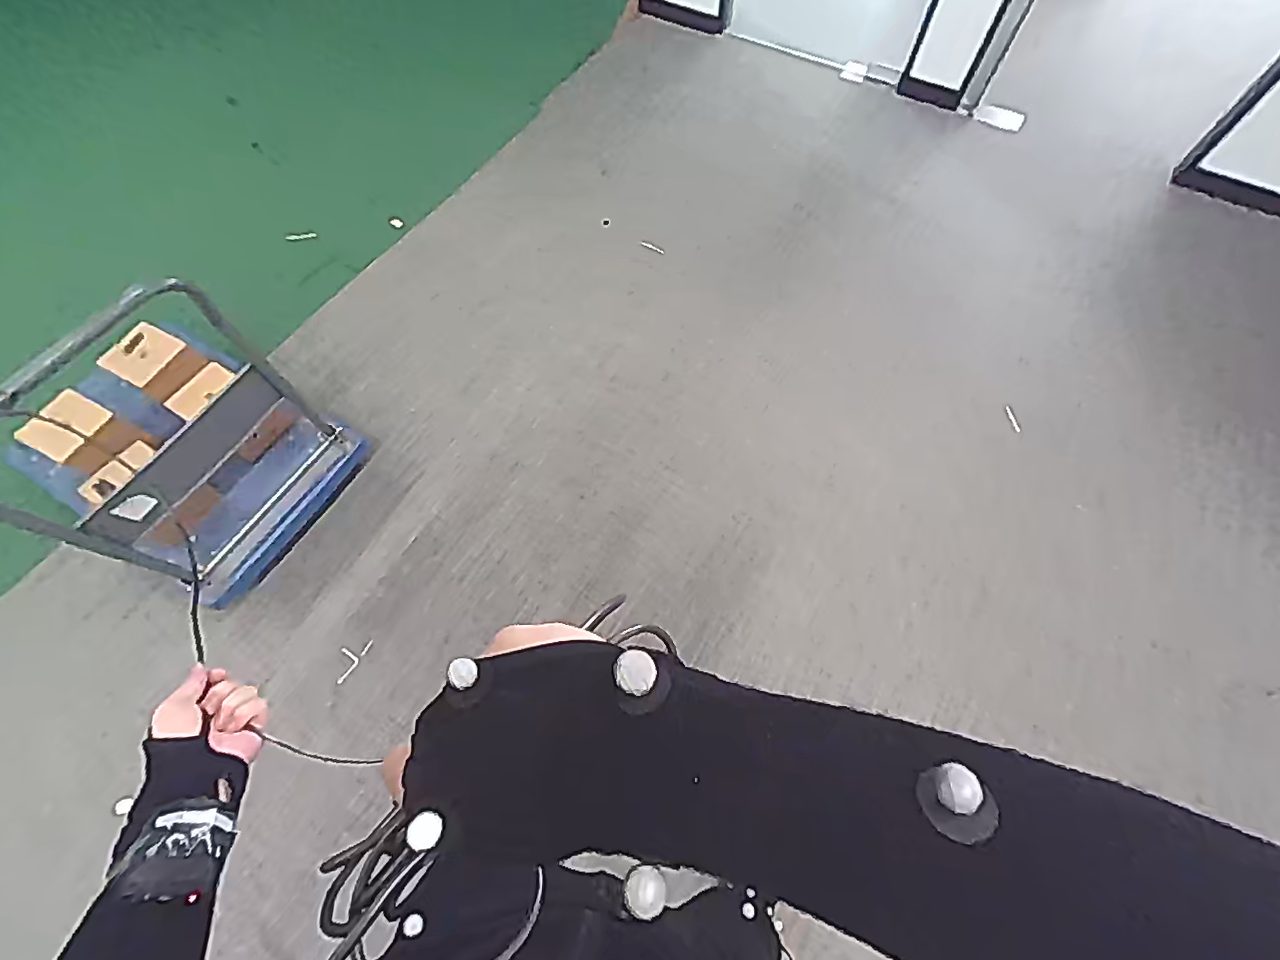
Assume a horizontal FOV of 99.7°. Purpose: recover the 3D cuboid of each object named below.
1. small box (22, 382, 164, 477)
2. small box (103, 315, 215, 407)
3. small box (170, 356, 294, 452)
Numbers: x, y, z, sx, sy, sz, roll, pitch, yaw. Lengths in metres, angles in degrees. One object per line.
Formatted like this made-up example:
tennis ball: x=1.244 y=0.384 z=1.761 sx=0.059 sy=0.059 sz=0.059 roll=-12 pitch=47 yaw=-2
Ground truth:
small box: x=-1.469 y=-0.129 z=1.467 sx=0.179 sy=0.176 sz=0.168 roll=26 pitch=68 yaw=11
small box: x=-1.354 y=-0.333 z=1.558 sx=0.179 sy=0.176 sz=0.168 roll=26 pitch=69 yaw=10
small box: x=-1.124 y=-0.205 z=1.502 sx=0.179 sy=0.176 sz=0.168 roll=30 pitch=69 yaw=12
